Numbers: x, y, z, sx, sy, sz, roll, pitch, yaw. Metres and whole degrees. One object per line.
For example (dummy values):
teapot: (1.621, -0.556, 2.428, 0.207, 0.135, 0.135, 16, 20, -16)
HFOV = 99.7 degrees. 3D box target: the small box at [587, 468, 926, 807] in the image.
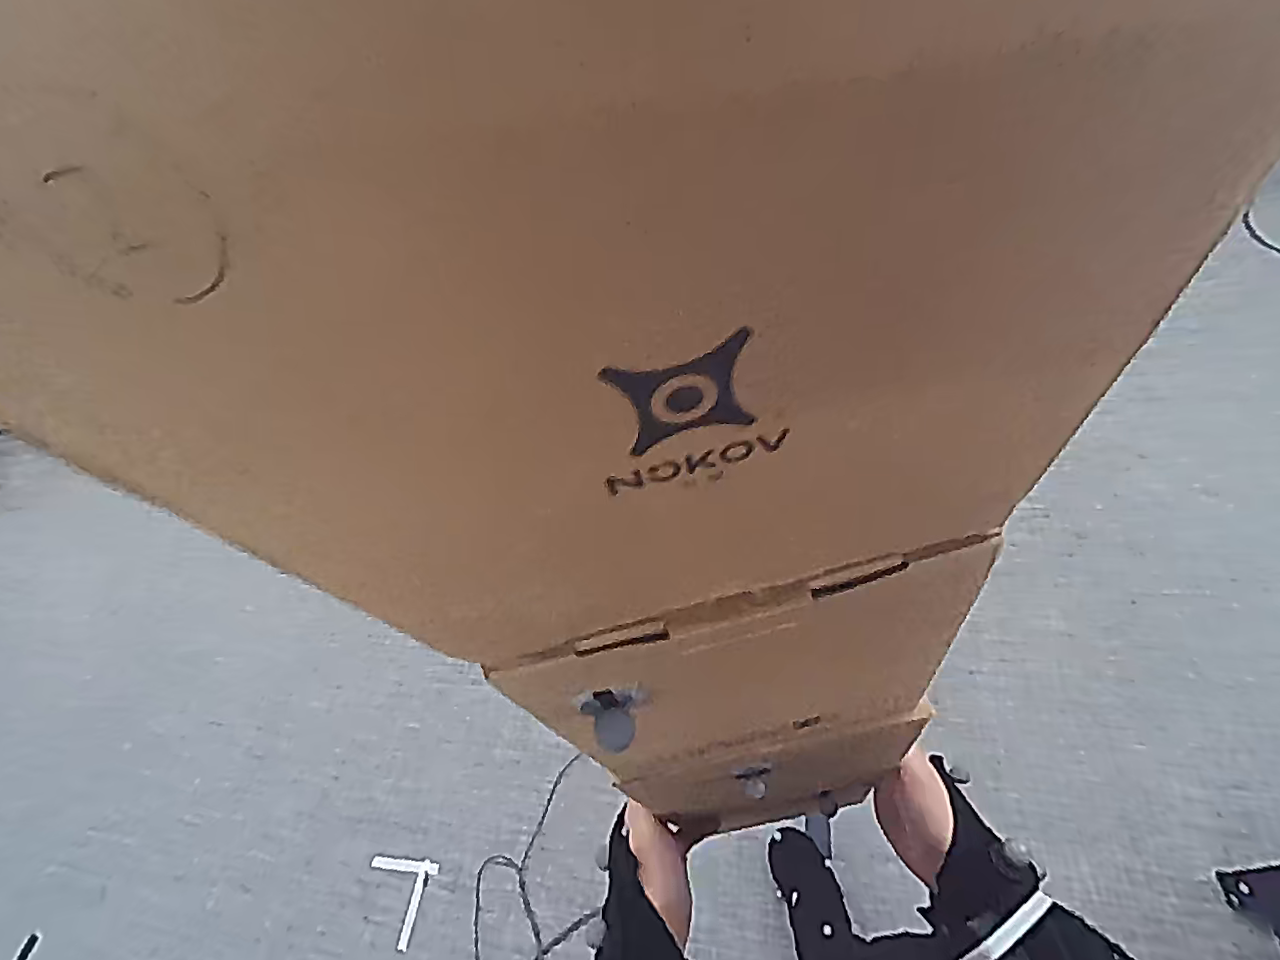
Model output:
small box: (0.073, 0.122, 0.396, 0.179, 0.176, 0.168, -14, 50, 4)
